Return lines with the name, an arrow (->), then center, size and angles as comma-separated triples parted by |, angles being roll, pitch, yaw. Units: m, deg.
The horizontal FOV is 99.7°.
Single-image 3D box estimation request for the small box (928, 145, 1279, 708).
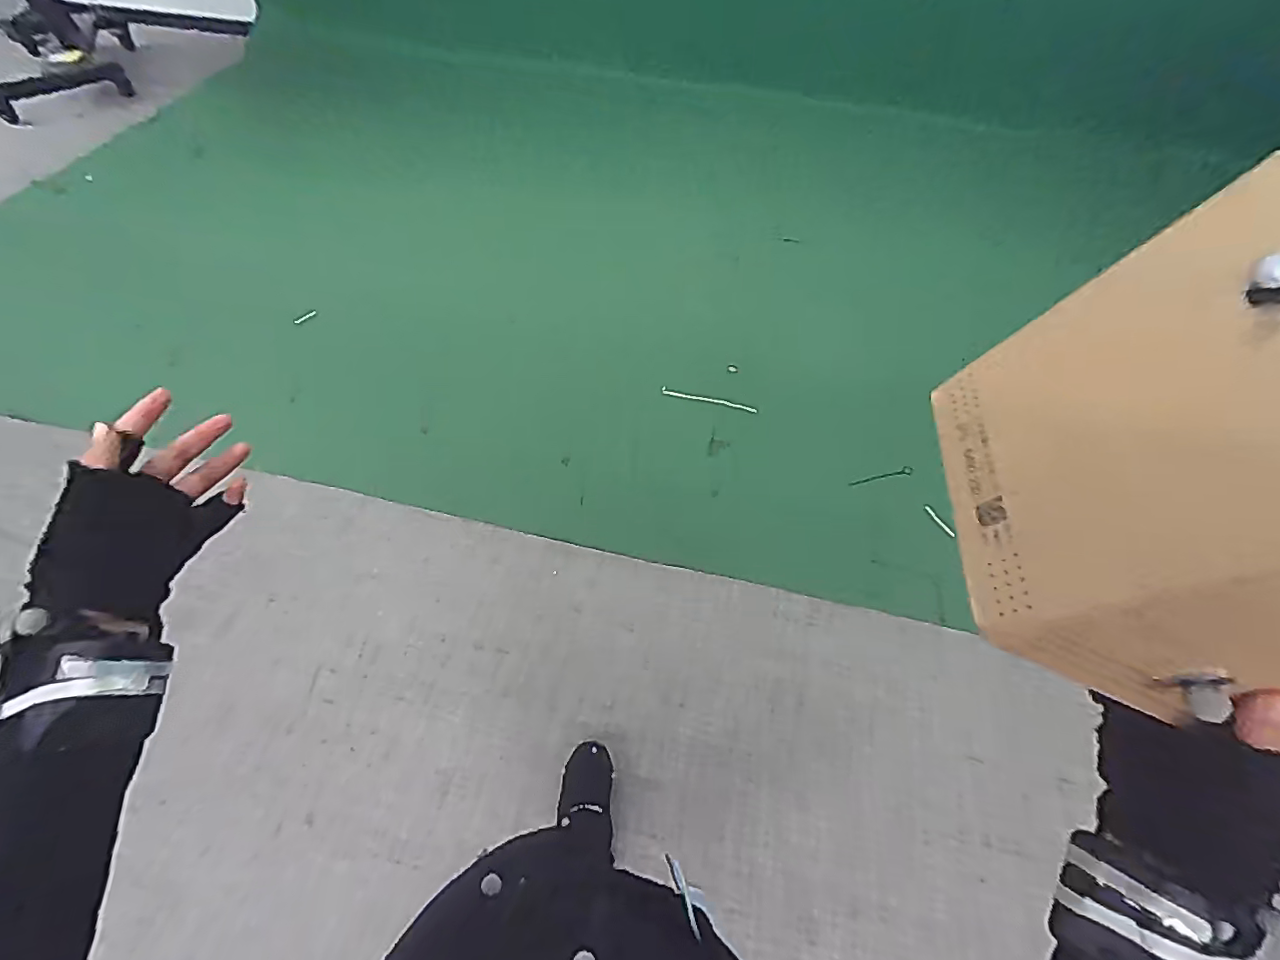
small box -> 0.275, -0.002, 0.256 | 0.179, 0.176, 0.168 | 24, 53, -17
